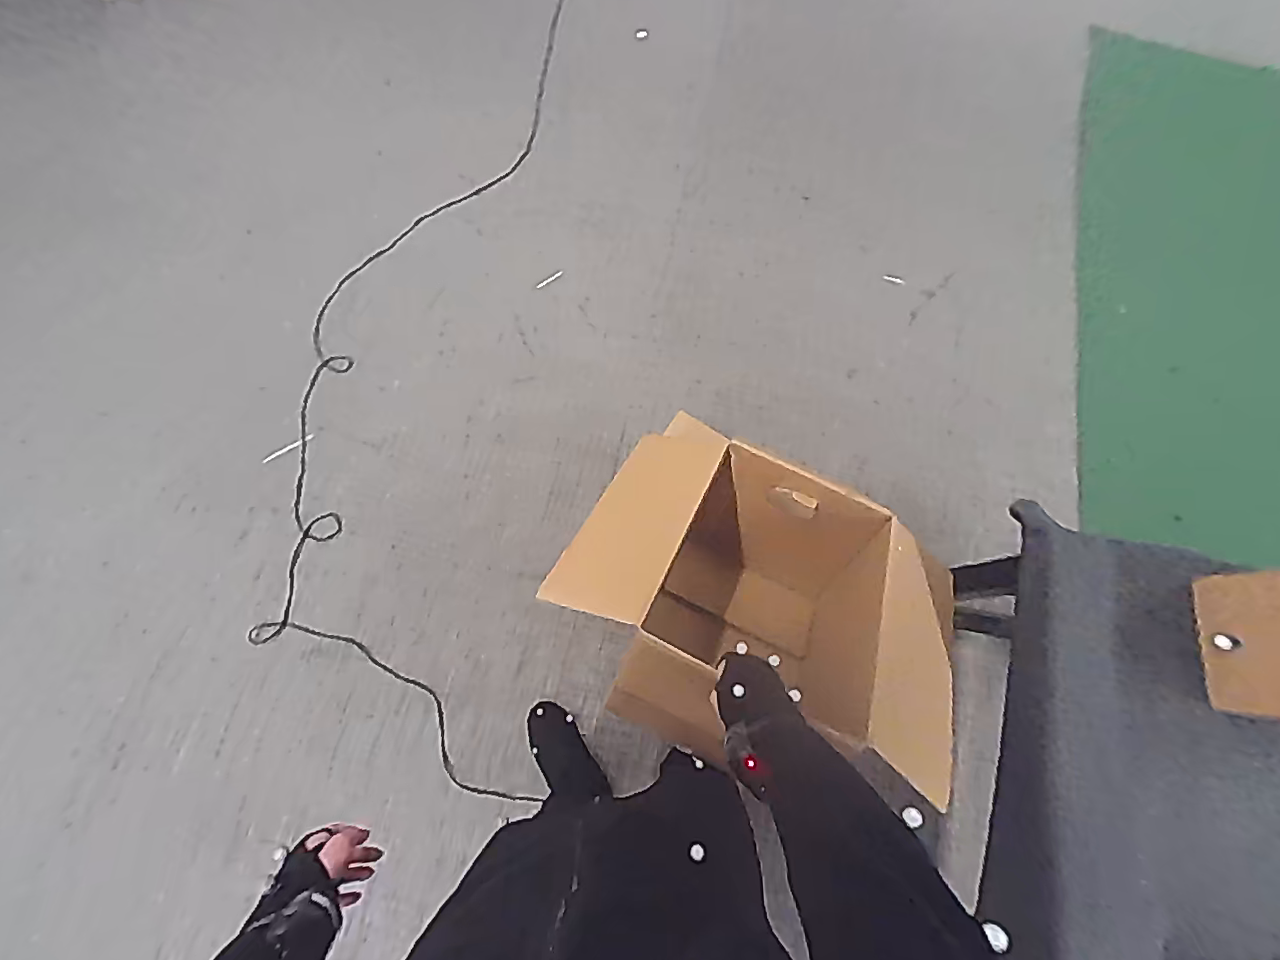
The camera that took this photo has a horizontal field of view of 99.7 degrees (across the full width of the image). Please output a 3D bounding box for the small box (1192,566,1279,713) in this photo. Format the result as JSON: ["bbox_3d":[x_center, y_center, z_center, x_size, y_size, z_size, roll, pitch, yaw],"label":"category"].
[{"bbox_3d":[0.848,0.205,0.665,0.168,0.176,0.179,7,75,-2],"label":"small box"}]
